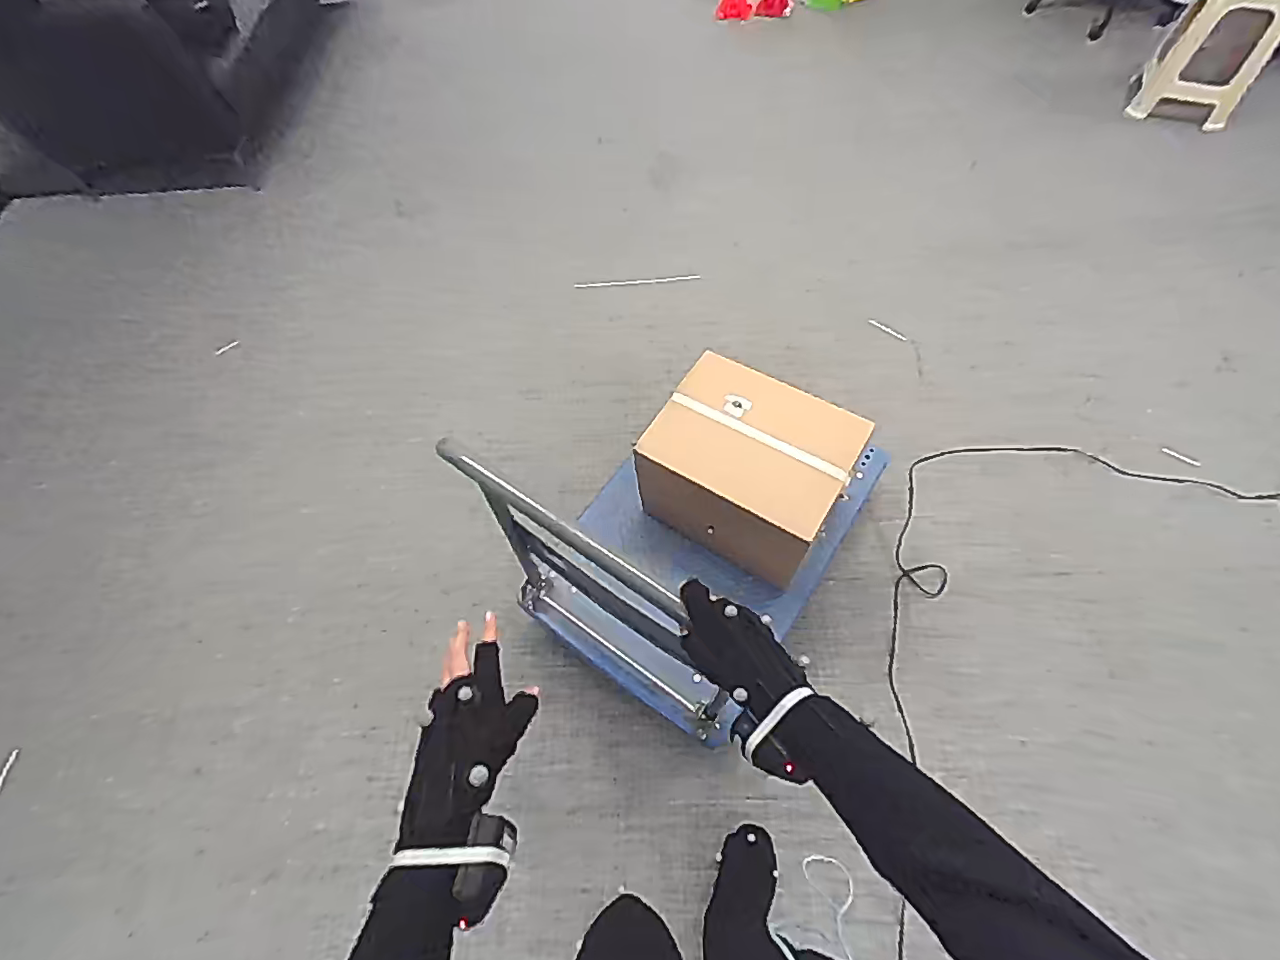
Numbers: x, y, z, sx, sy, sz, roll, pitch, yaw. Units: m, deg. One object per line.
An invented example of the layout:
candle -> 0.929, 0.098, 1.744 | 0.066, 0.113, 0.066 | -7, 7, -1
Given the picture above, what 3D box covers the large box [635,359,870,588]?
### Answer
large box -> 0.250, -0.009, 1.260 | 0.408, 0.320, 0.320 | 28, 66, 19
